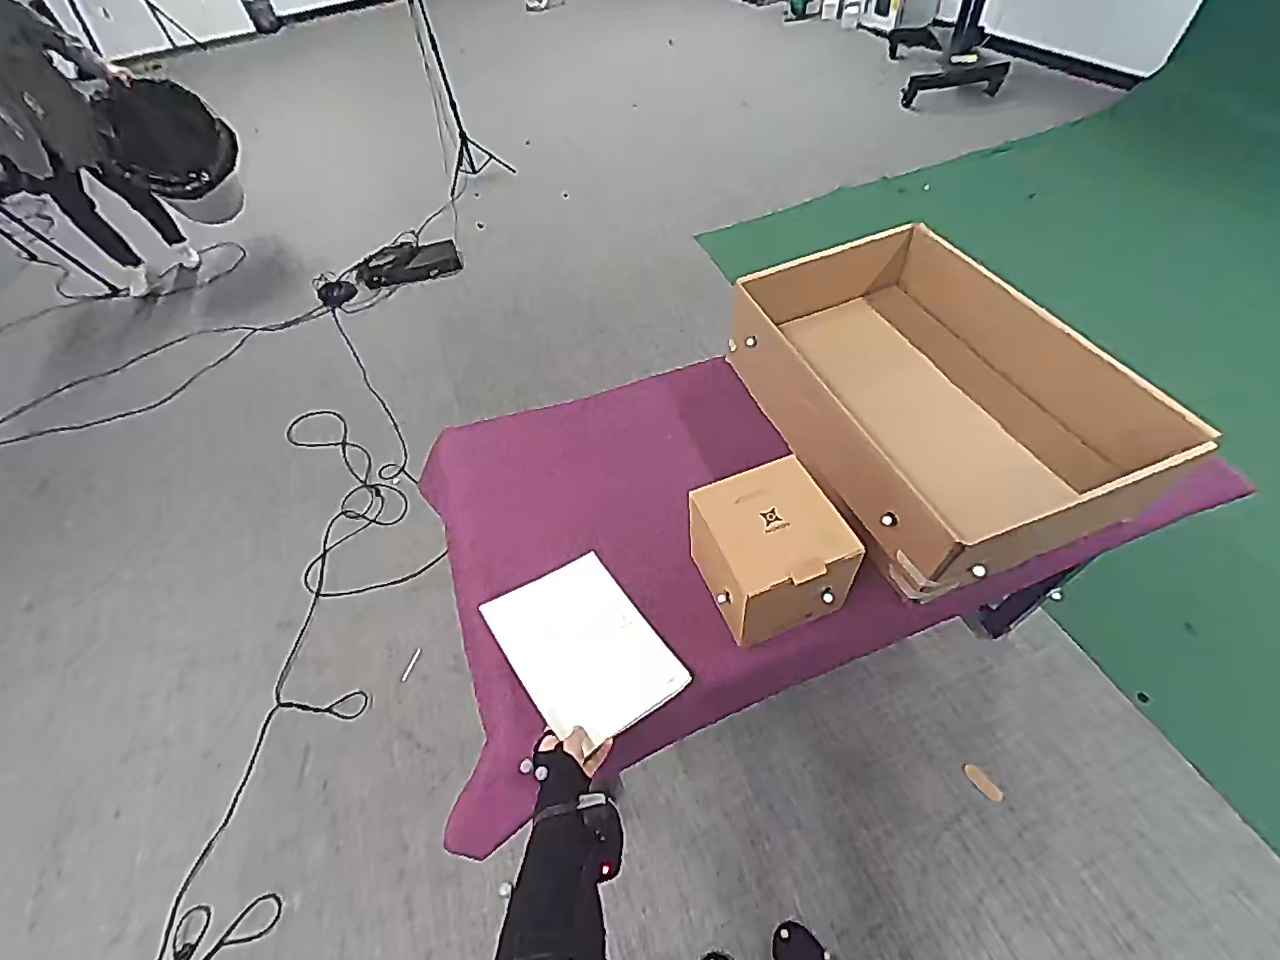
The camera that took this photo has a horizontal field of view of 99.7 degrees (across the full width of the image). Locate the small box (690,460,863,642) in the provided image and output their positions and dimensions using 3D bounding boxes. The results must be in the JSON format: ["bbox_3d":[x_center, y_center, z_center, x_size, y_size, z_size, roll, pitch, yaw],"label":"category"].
[{"bbox_3d":[0.181,0.107,0.764,0.168,0.176,0.179,-19,51,-8],"label":"small box"}]
